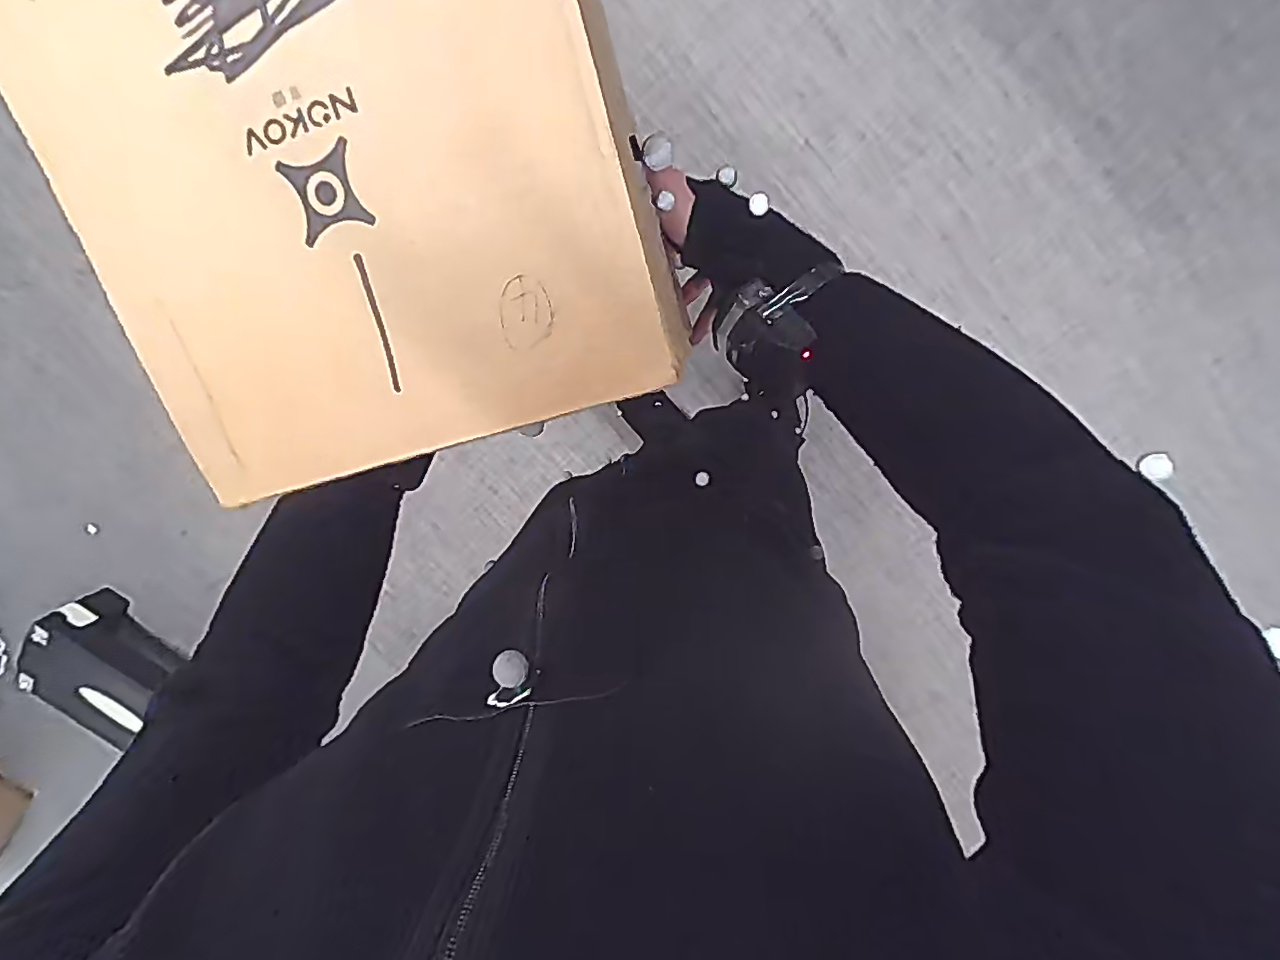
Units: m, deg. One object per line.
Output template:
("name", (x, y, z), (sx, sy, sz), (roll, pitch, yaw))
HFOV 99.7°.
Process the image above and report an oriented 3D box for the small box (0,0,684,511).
("small box", (-0.082, -0.110, 0.224), (0.168, 0.176, 0.179), (-14, 106, 11))
